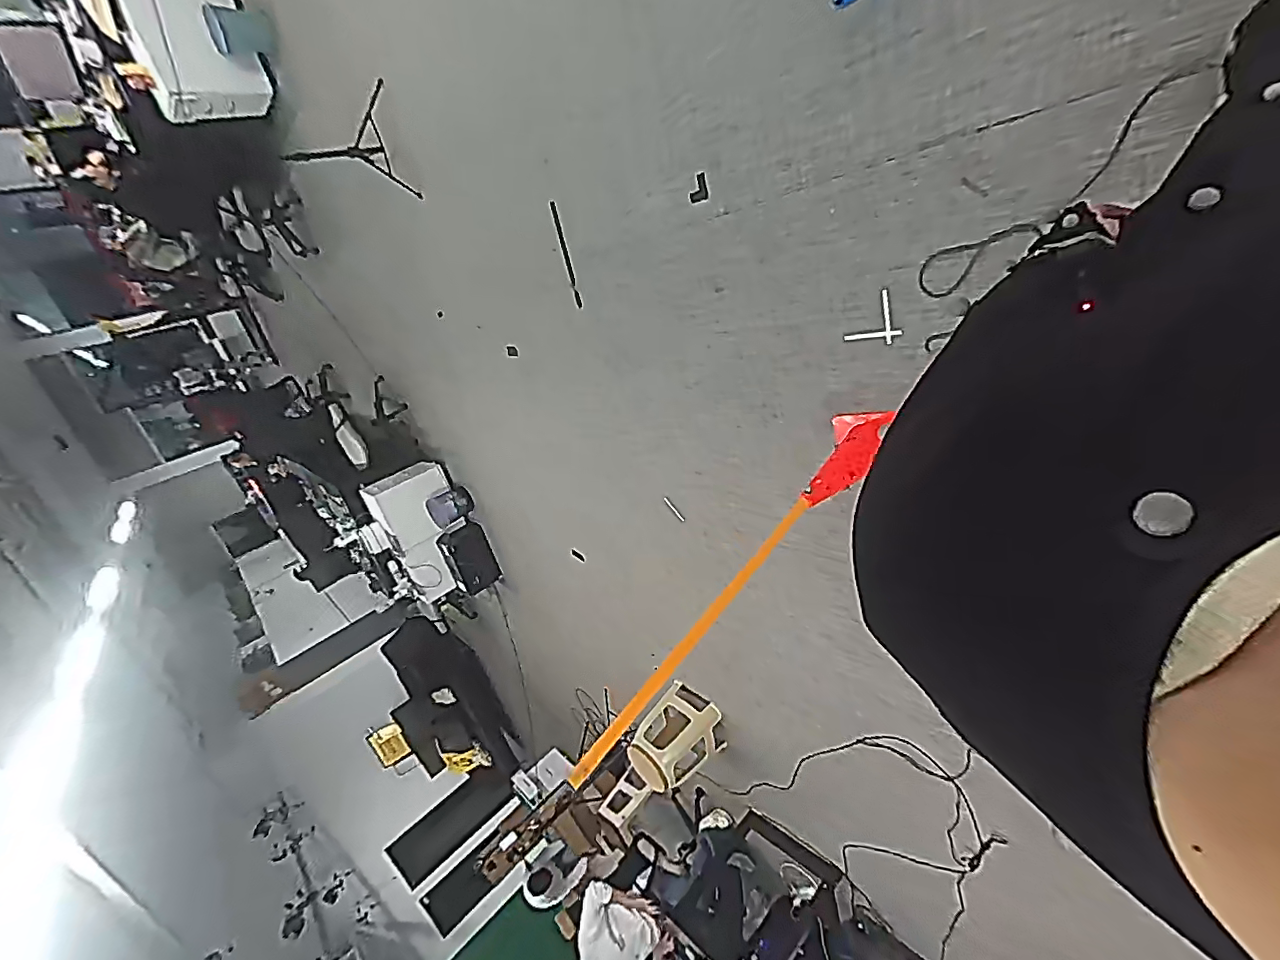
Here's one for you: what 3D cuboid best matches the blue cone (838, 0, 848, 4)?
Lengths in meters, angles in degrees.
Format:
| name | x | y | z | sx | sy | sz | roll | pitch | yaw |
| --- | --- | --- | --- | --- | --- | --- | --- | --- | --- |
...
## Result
| name | x | y | z | sx | sy | sz | roll | pitch | yaw |
| --- | --- | --- | --- | --- | --- | --- | --- | --- | --- |
| blue cone | 0.337 | -0.992 | 0.945 | 0.193 | 0.380 | 0.192 | 15 | 128 | 46 |

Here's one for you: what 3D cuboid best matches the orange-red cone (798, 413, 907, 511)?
| name | x | y | z | sx | sy | sz | roll | pitch | yaw |
| --- | --- | --- | --- | --- | --- | --- | --- | --- | --- |
| orange-red cone | 0.533 | -0.020 | 1.446 | 0.199 | 0.360 | 0.198 | 4 | 119 | 49 |
